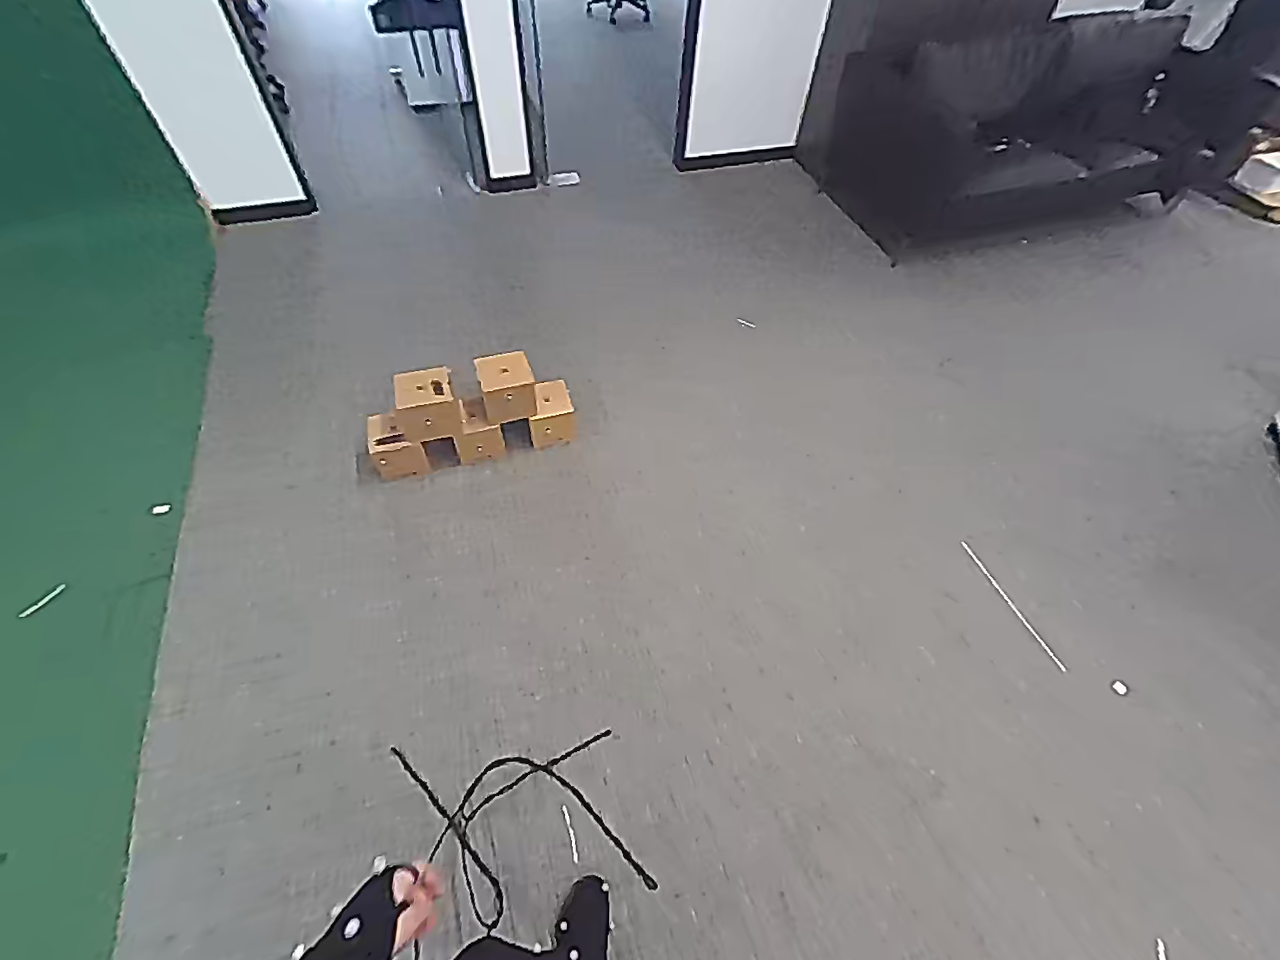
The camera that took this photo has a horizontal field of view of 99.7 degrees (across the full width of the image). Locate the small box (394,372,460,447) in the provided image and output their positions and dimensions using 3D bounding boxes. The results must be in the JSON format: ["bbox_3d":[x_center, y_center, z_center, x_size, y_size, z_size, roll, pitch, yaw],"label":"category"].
[{"bbox_3d":[-0.711,-0.236,1.822,0.179,0.176,0.168,-12,55,-12],"label":"small box"}]

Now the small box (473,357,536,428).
[{"bbox_3d":[-0.470,-0.303,1.891,0.179,0.176,0.168,-14,56,-16],"label":"small box"}]

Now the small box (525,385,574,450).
[{"bbox_3d":[-0.350,-0.230,2.051,0.168,0.176,0.179,-14,55,-13],"label":"small box"}]
